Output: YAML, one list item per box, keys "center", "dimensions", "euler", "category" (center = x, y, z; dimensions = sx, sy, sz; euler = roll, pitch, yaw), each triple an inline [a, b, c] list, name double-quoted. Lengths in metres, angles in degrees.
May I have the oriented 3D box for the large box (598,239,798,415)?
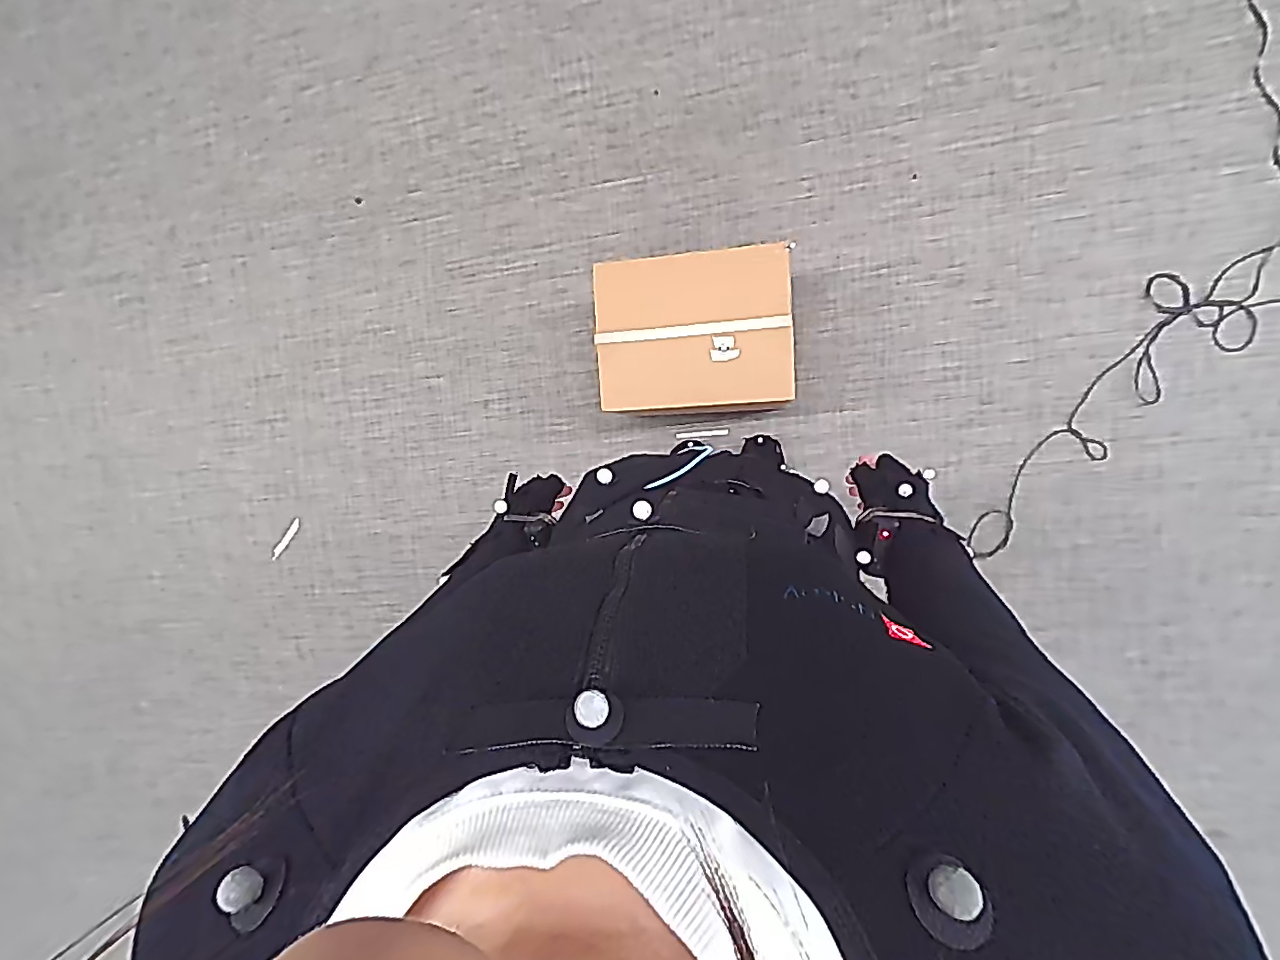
- center: [0.138, -0.326, 1.263]
  dimensions: [0.408, 0.320, 0.320]
  euler: [-3, 95, 10]
  category: "large box"
